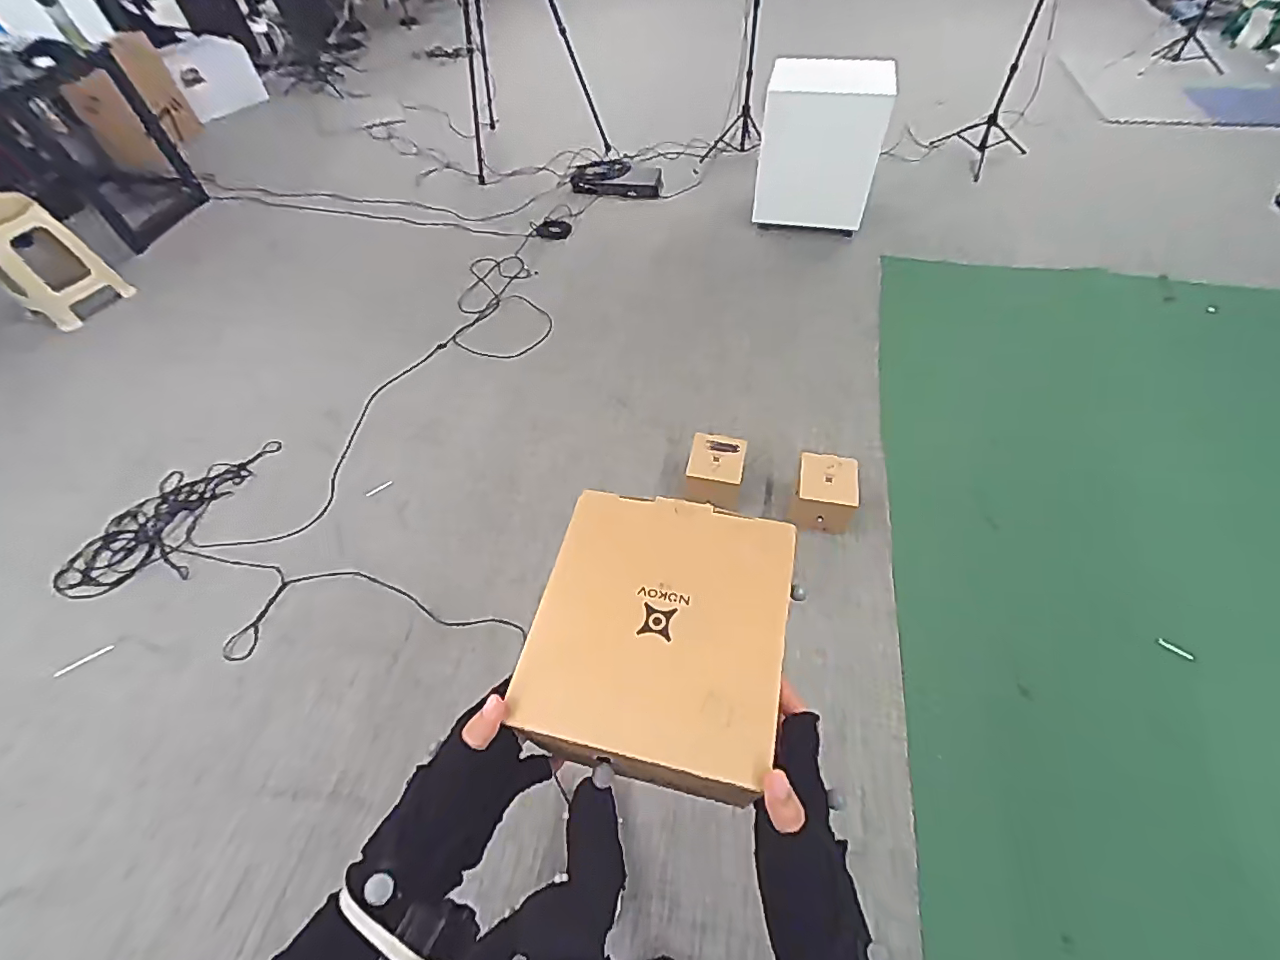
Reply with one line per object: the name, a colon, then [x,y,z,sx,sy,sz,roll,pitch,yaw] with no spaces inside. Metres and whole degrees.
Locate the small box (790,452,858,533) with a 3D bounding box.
small box: [0.557,0.042,1.644,0.168,0.176,0.179,9,55,9]

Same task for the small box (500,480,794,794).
small box: [0.019,0.127,0.422,0.168,0.176,0.179,9,56,11]
